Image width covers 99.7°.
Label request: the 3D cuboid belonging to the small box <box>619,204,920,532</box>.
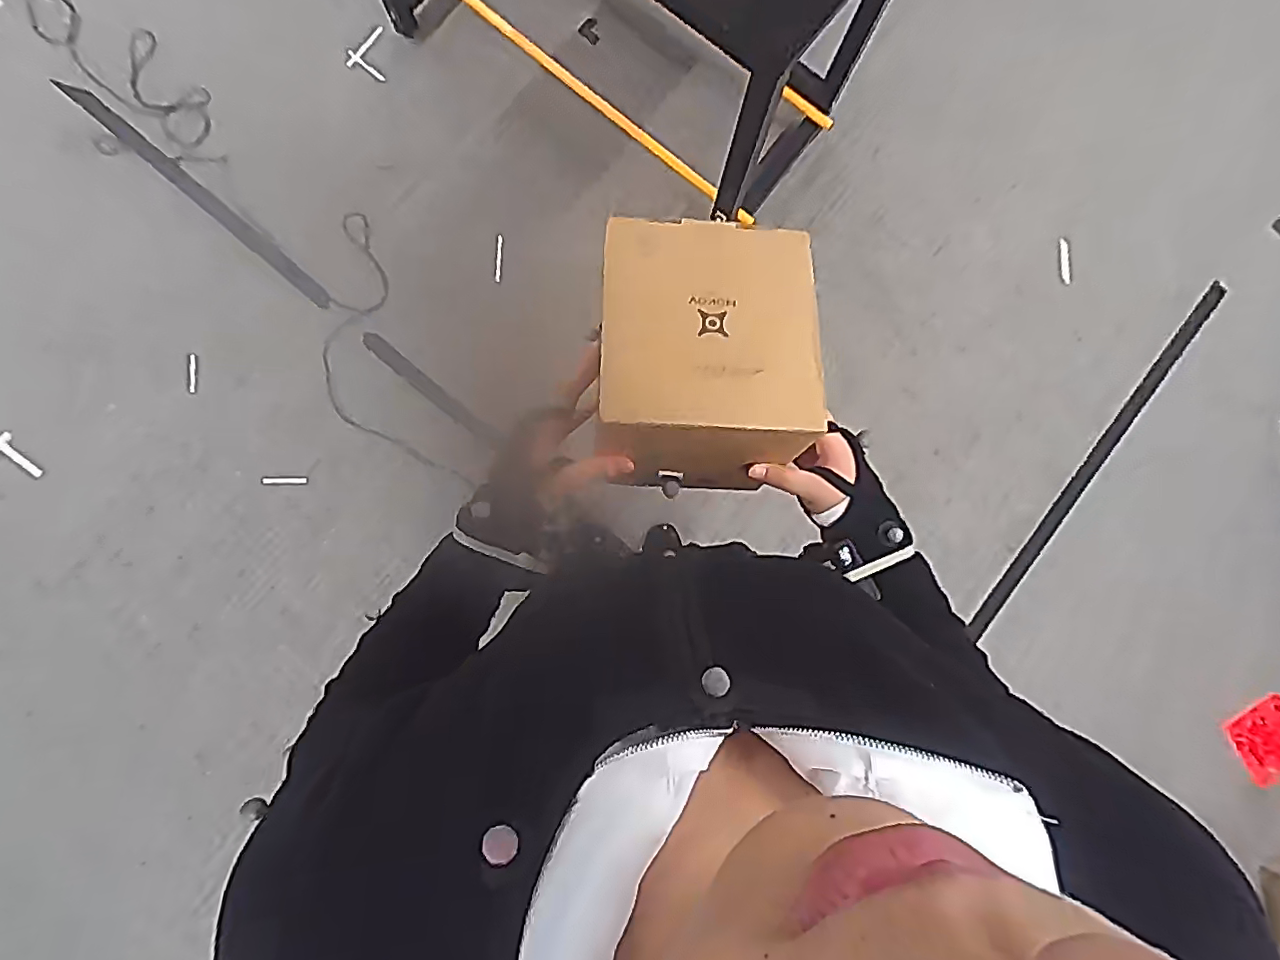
[{"bbox_3d":[0.071,-0.065,0.401,0.168,0.176,0.179,2,74,-5],"label":"small box"}]
